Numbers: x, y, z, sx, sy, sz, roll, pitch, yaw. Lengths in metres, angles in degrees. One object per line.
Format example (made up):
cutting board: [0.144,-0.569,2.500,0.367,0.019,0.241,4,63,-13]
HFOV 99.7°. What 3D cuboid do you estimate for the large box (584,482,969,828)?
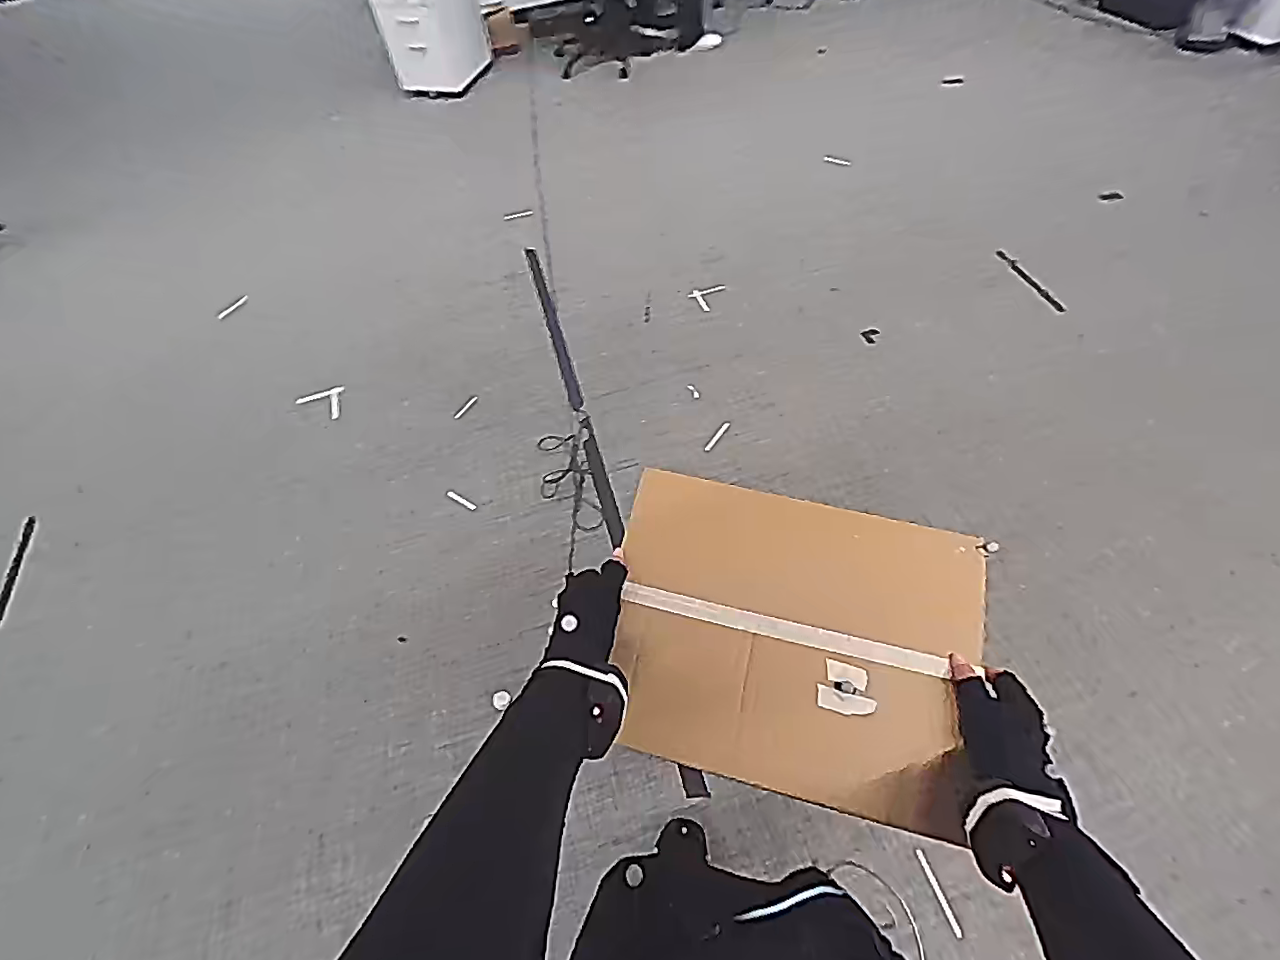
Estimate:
large box: [0.168,0.232,0.749,0.408,0.320,0.320,11,68,8]
